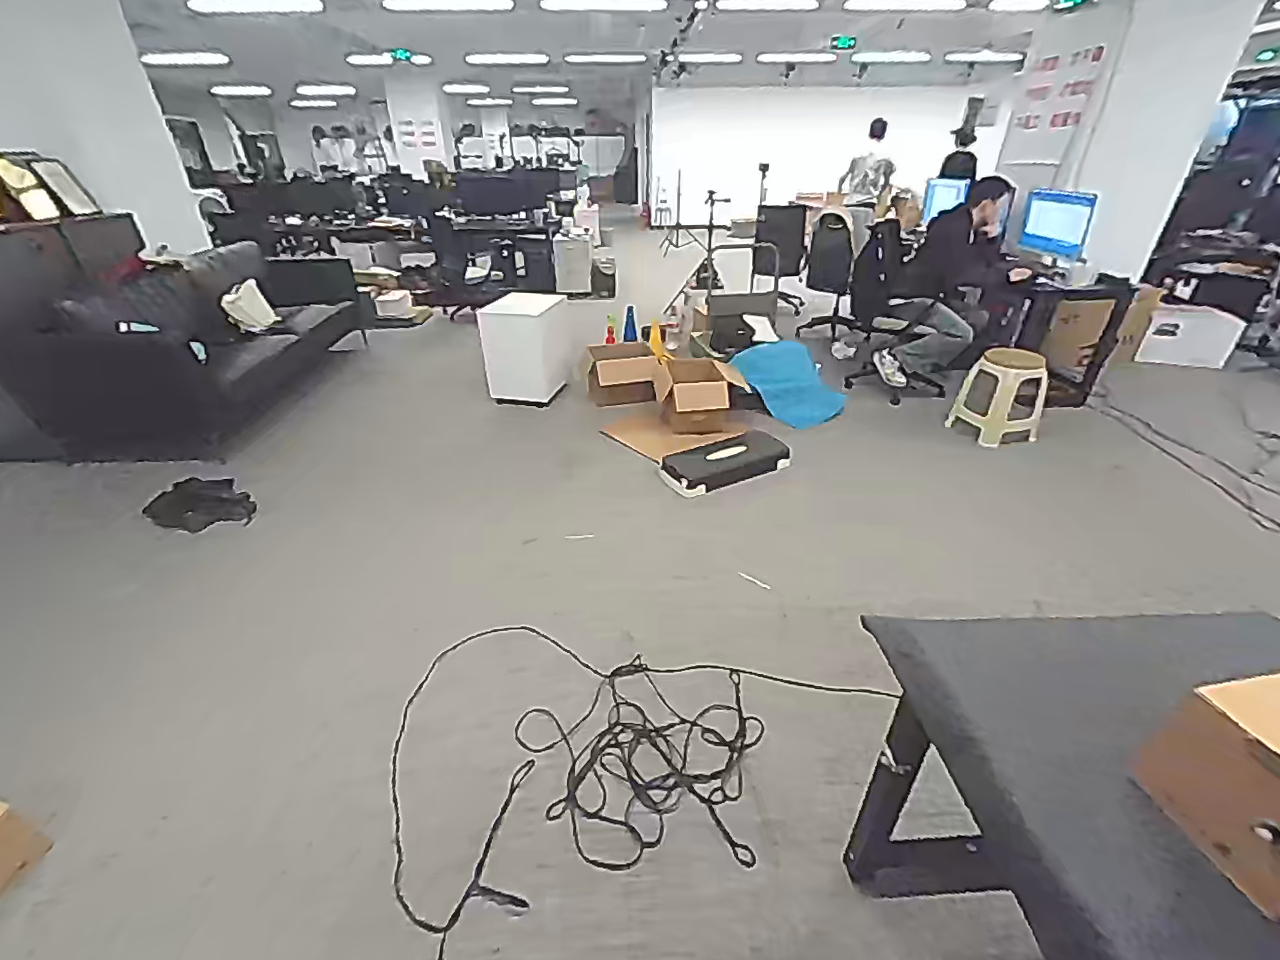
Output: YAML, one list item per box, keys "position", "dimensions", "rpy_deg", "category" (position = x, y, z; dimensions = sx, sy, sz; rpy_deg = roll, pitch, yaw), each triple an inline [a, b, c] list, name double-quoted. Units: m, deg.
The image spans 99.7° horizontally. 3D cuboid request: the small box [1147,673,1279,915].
- position: [0.712, 0.332, 0.583]
  dimensions: [0.179, 0.176, 0.168]
  rpy_deg: [-4, 32, -9]
  category: "small box"
